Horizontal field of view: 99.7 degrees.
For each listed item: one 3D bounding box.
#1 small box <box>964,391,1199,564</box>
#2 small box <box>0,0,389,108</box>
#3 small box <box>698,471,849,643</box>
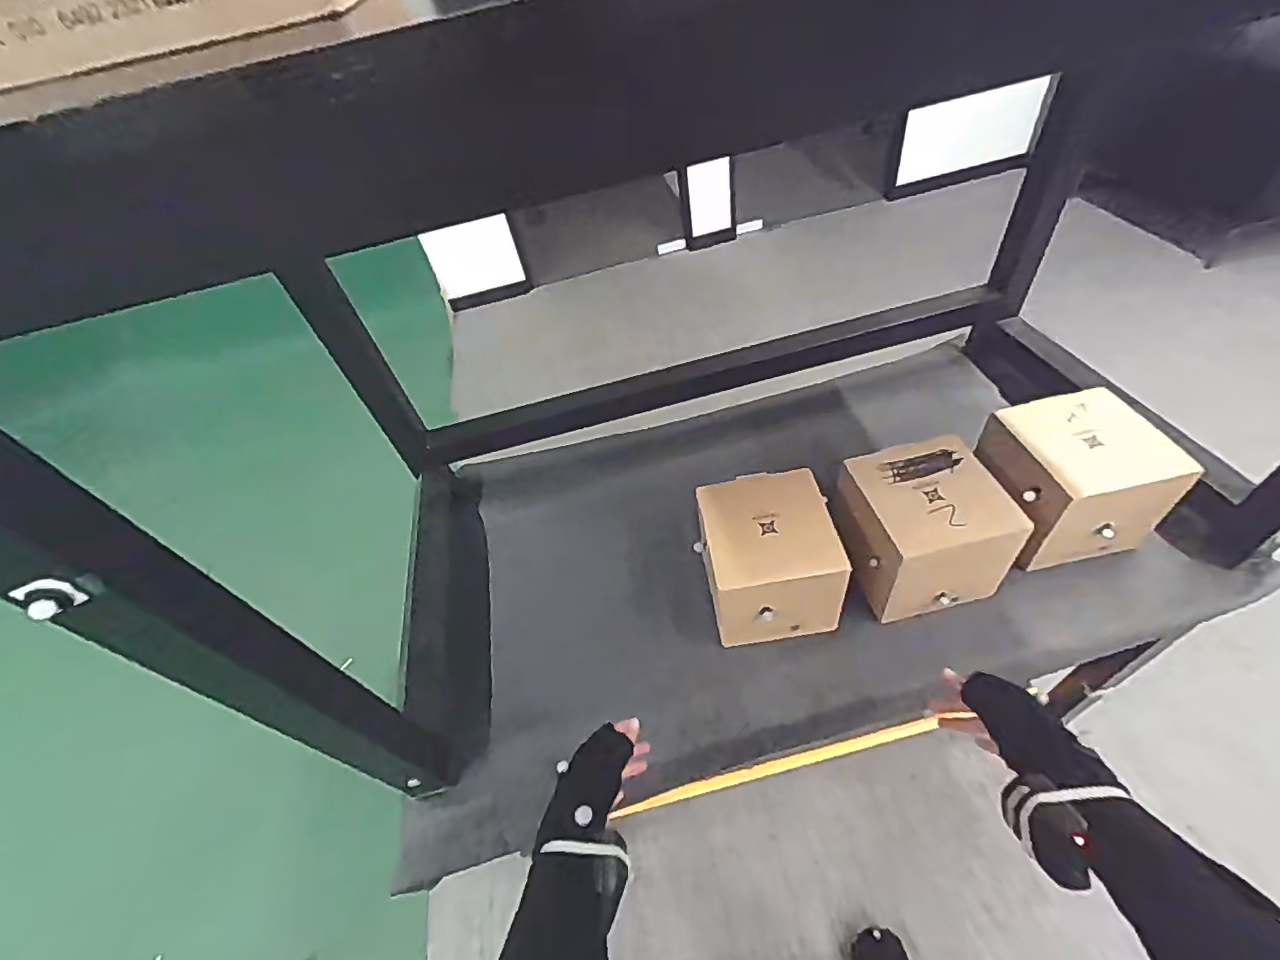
[{"bbox_3d":[0.610,0.004,0.779,0.168,0.176,0.179,-12,46,1],"label":"small box"},{"bbox_3d":[-0.226,-0.282,0.226,0.168,0.176,0.179,-14,48,-1],"label":"small box"},{"bbox_3d":[0.184,0.117,0.775,0.168,0.176,0.179,-10,47,3],"label":"small box"}]
